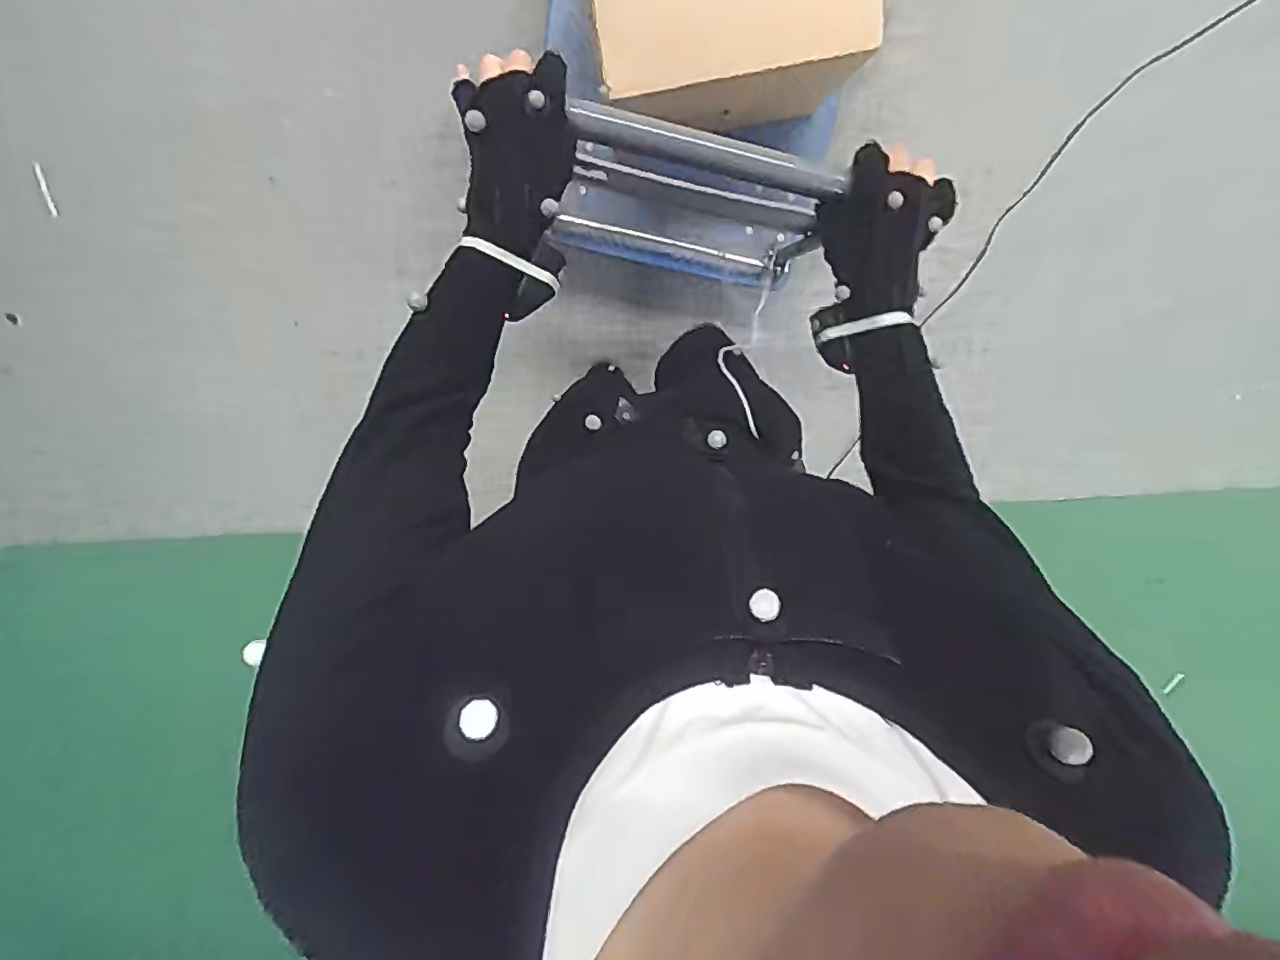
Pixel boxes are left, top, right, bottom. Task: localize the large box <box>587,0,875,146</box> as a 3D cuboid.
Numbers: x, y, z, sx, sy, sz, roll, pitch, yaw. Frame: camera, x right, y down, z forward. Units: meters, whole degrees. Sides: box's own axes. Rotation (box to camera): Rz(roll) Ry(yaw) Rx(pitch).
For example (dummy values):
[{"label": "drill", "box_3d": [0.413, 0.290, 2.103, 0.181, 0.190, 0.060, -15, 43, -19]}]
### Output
[{"label": "large box", "box_3d": [0.119, -0.791, 0.885, 0.408, 0.320, 0.320, -10, 108, 3]}]
